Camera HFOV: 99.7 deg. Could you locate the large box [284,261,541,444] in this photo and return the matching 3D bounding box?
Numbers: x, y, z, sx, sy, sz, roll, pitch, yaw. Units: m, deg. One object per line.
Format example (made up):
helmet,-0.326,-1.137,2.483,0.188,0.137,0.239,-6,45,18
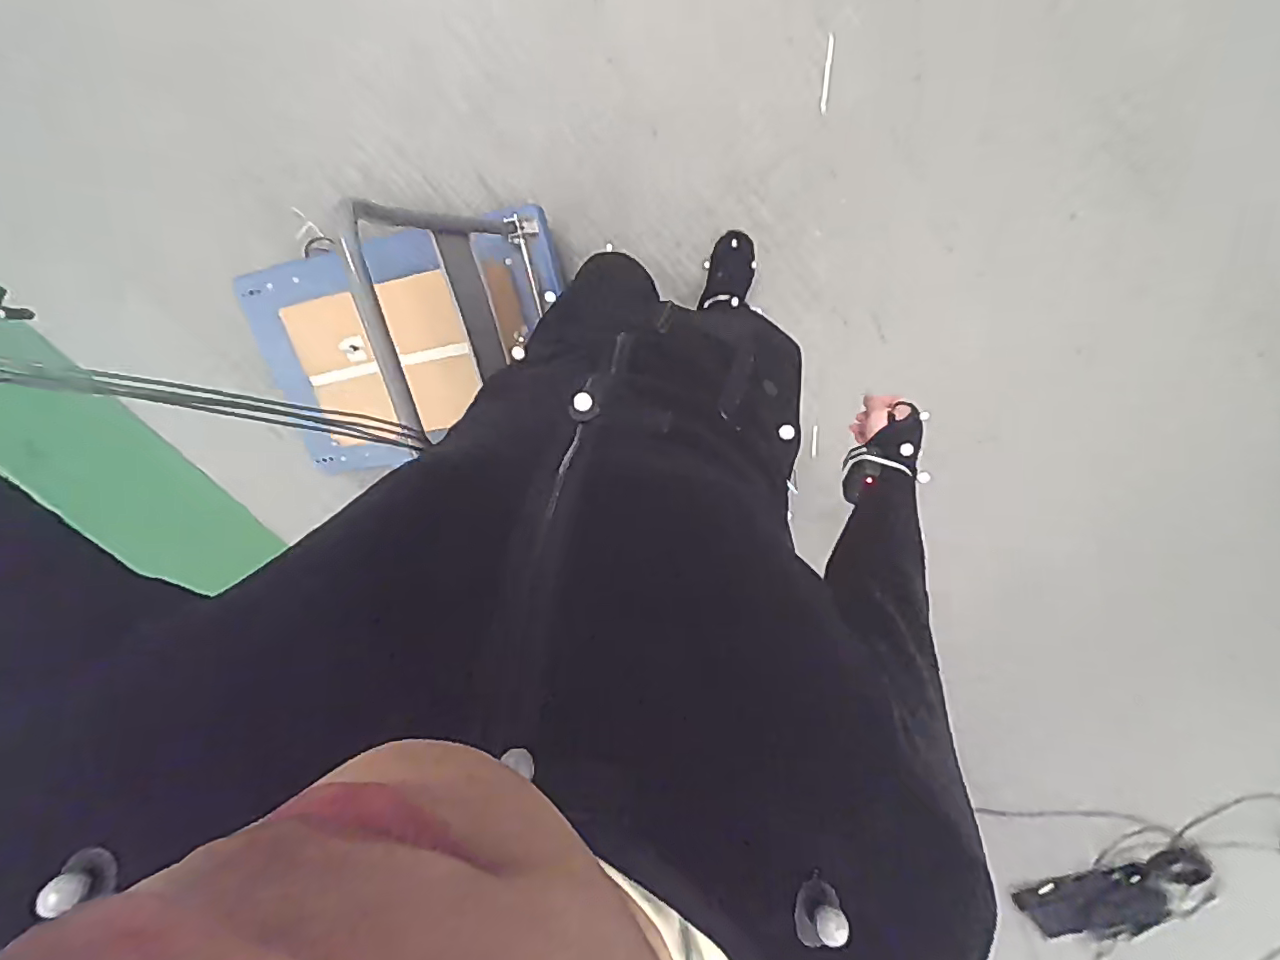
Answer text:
large box,-0.499,-0.306,1.271,0.408,0.320,0.320,-8,111,12
